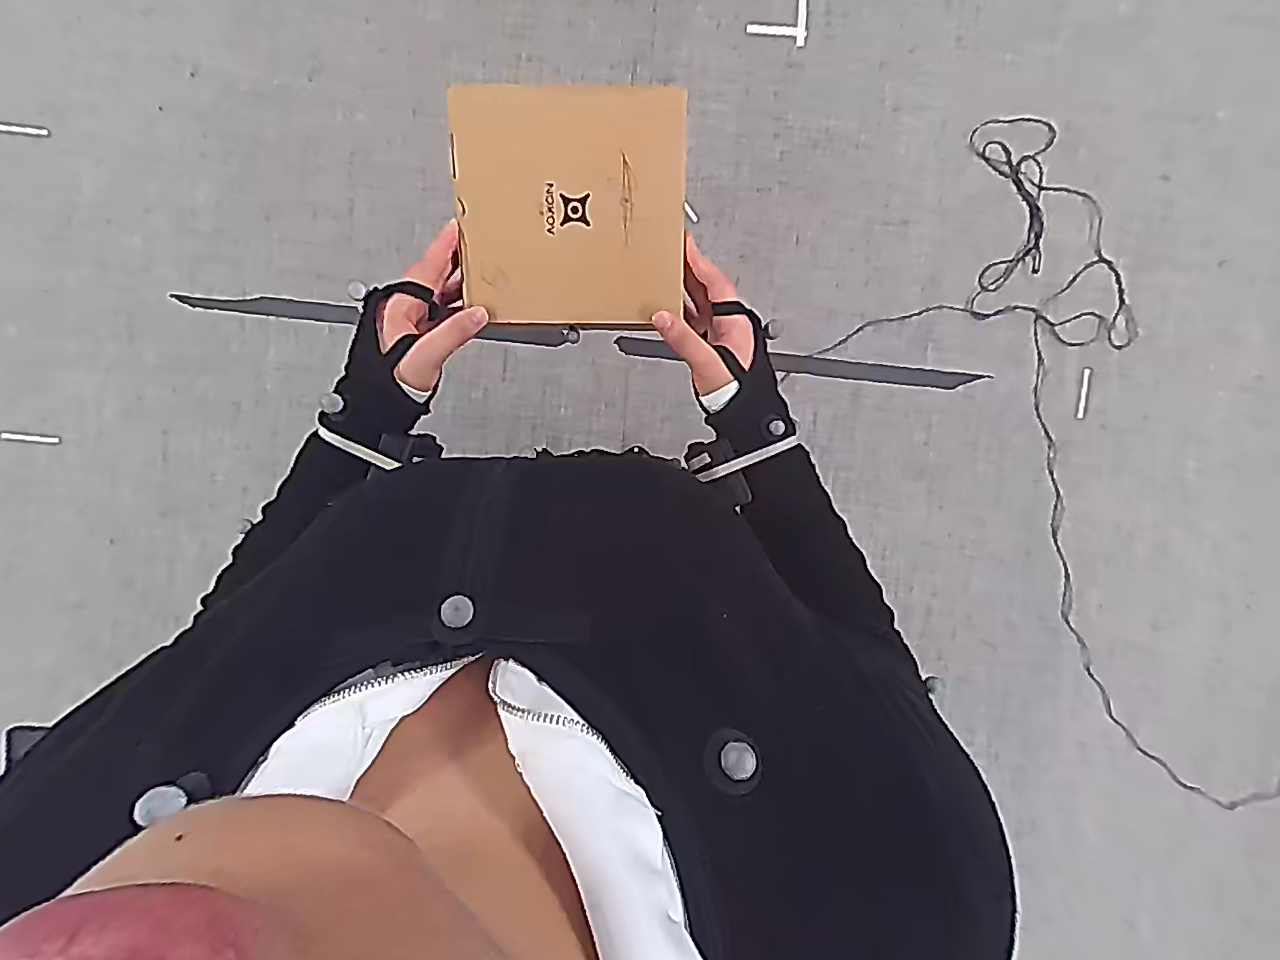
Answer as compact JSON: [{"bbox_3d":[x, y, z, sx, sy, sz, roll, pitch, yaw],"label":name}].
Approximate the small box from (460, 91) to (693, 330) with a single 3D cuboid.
[{"bbox_3d":[-0.048,-0.226,0.496,0.179,0.176,0.168,0,104,-1],"label":"small box"}]
